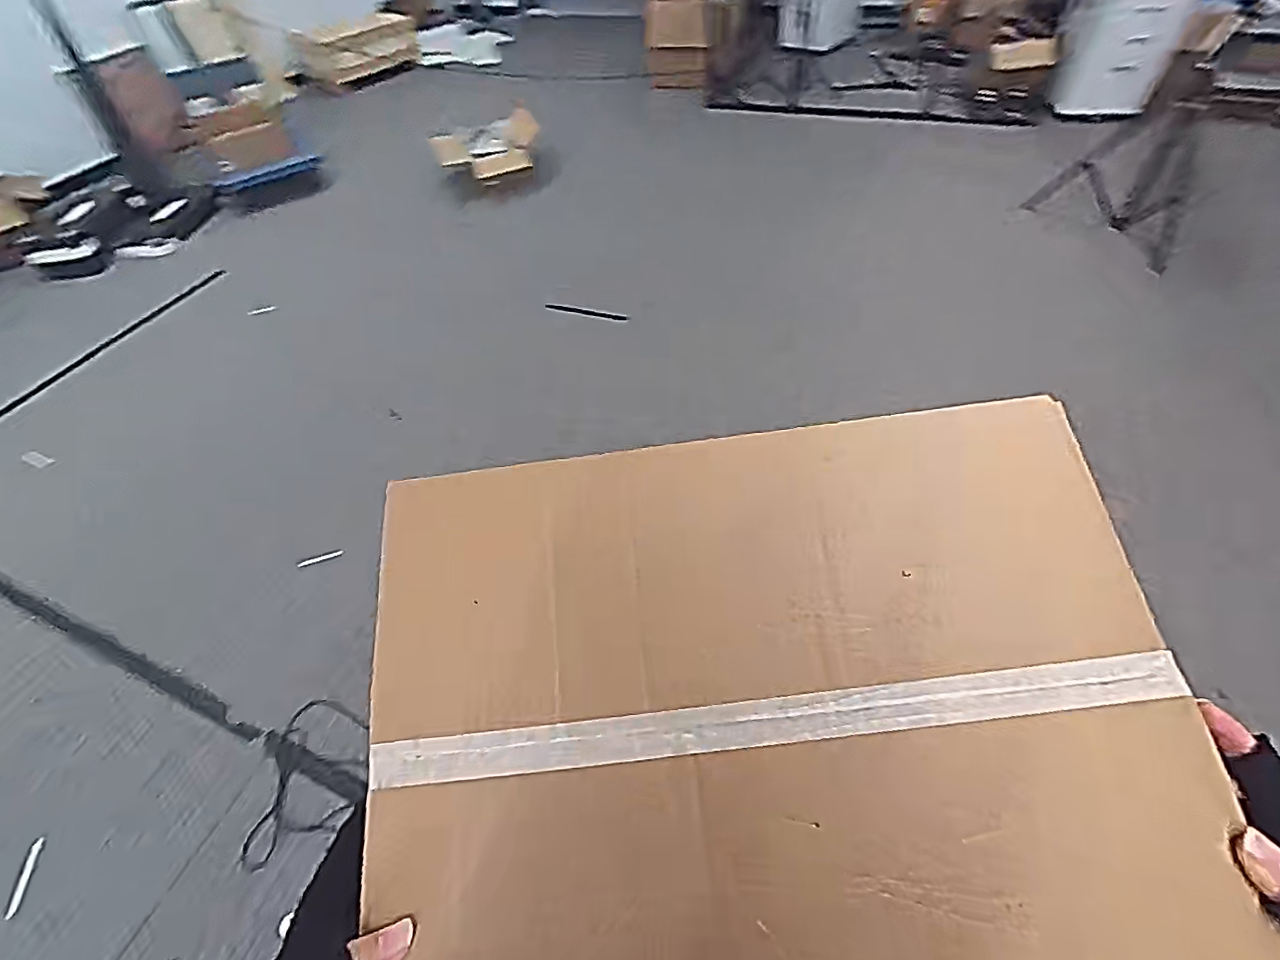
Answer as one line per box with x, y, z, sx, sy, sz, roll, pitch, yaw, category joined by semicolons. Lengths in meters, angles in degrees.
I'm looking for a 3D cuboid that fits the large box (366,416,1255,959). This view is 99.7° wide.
0.069;0.183;0.419;0.408;0.320;0.320;-9;68;2;large box
